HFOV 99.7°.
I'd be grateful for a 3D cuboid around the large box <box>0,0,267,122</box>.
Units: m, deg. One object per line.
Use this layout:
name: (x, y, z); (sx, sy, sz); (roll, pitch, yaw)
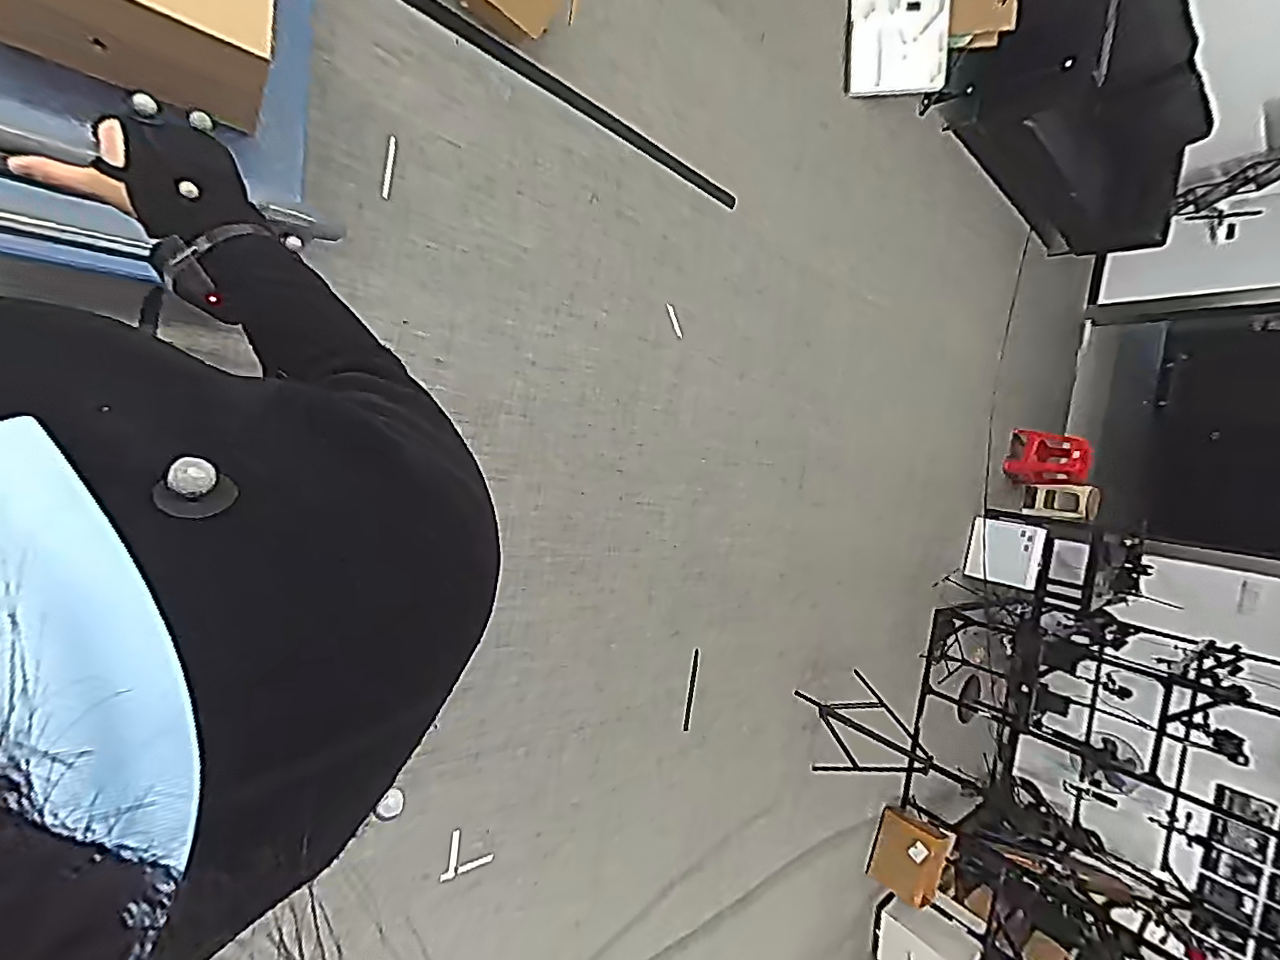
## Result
large box: (-0.793, -0.812, 0.786); (0.408, 0.320, 0.320); (2, 95, -39)
